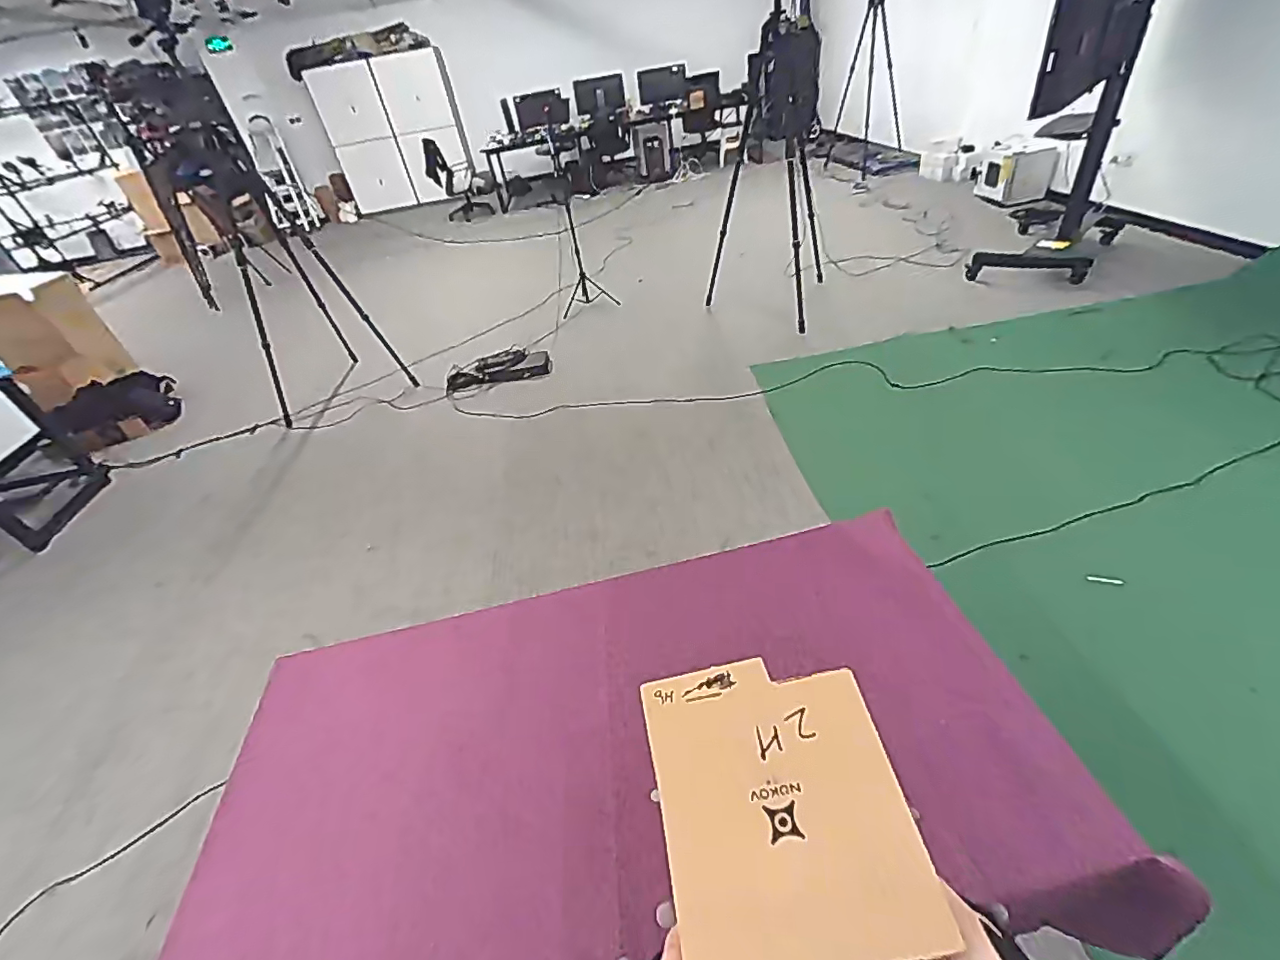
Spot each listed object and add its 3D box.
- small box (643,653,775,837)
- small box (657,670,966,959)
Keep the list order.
[{"bbox_3d":[0.107,0.356,0.691,0.168,0.176,0.179,-12,40,-1],"label":"small box"},{"bbox_3d":[0.116,0.281,0.429,0.168,0.176,0.179,-12,46,2],"label":"small box"}]
